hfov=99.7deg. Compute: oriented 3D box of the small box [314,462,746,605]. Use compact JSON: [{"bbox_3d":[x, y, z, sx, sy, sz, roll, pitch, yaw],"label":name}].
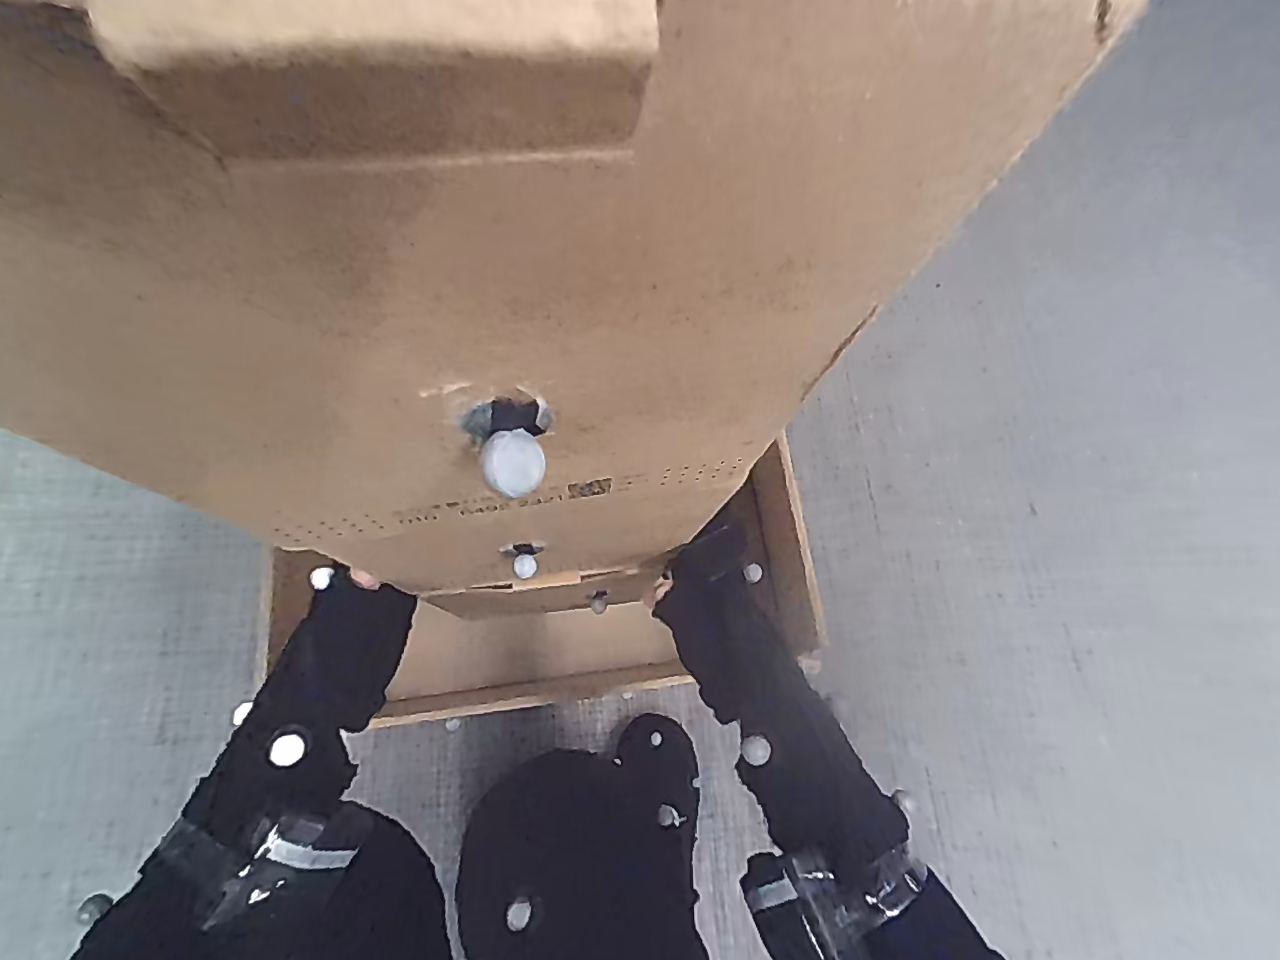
[{"bbox_3d":[-0.063,-0.030,0.315,0.179,0.176,0.168,-9,72,-11],"label":"small box"}]
